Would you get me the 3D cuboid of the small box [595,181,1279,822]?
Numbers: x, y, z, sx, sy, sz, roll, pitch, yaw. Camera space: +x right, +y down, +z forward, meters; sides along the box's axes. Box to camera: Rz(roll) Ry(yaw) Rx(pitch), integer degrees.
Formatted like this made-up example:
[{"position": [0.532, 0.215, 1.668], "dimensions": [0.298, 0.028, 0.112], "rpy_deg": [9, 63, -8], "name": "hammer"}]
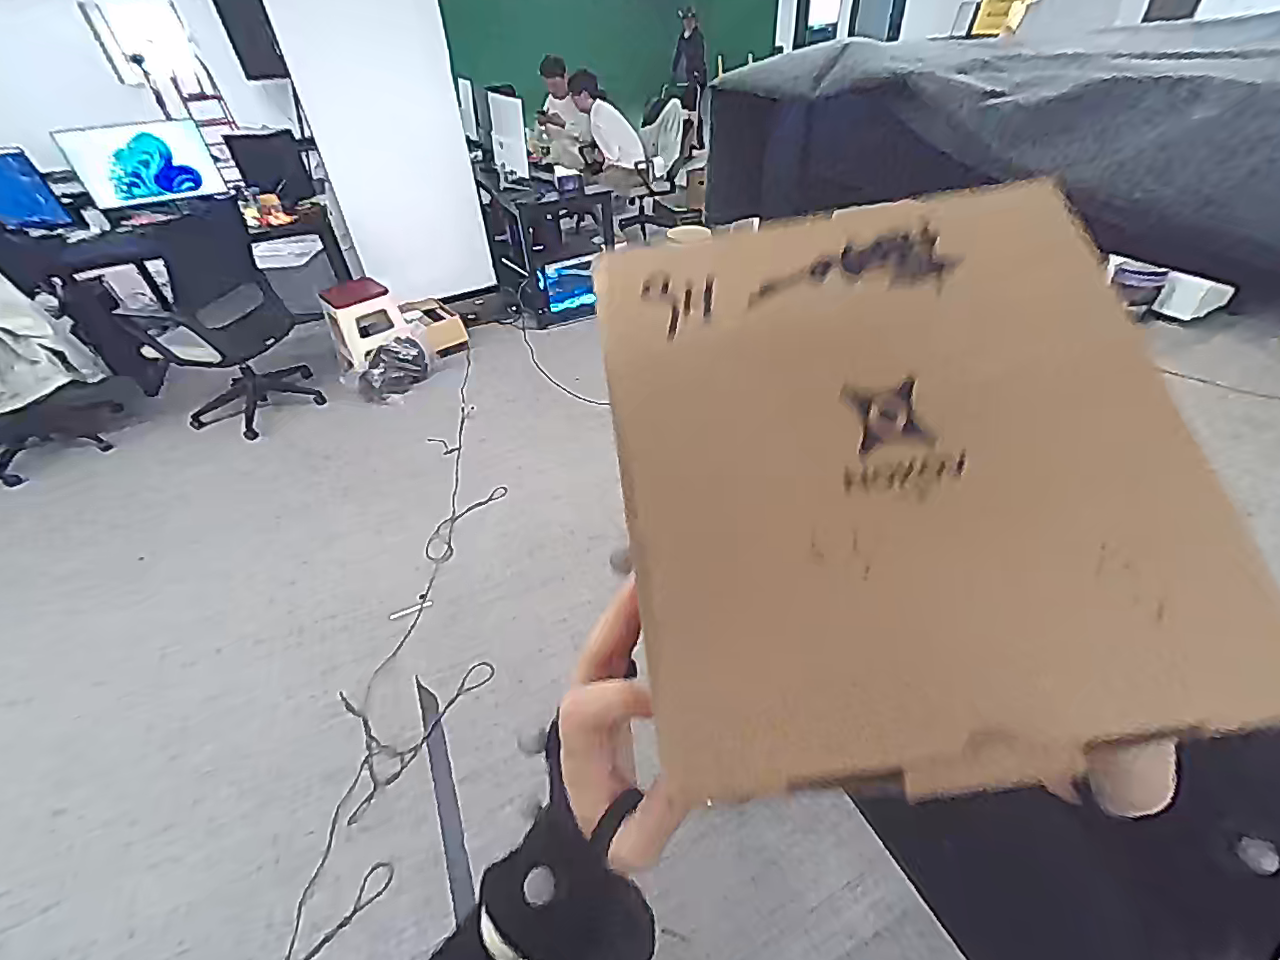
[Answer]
[{"position": [0.079, 0.015, 0.234], "dimensions": [0.168, 0.176, 0.179], "rpy_deg": [-8, 72, -1], "name": "small box"}]
